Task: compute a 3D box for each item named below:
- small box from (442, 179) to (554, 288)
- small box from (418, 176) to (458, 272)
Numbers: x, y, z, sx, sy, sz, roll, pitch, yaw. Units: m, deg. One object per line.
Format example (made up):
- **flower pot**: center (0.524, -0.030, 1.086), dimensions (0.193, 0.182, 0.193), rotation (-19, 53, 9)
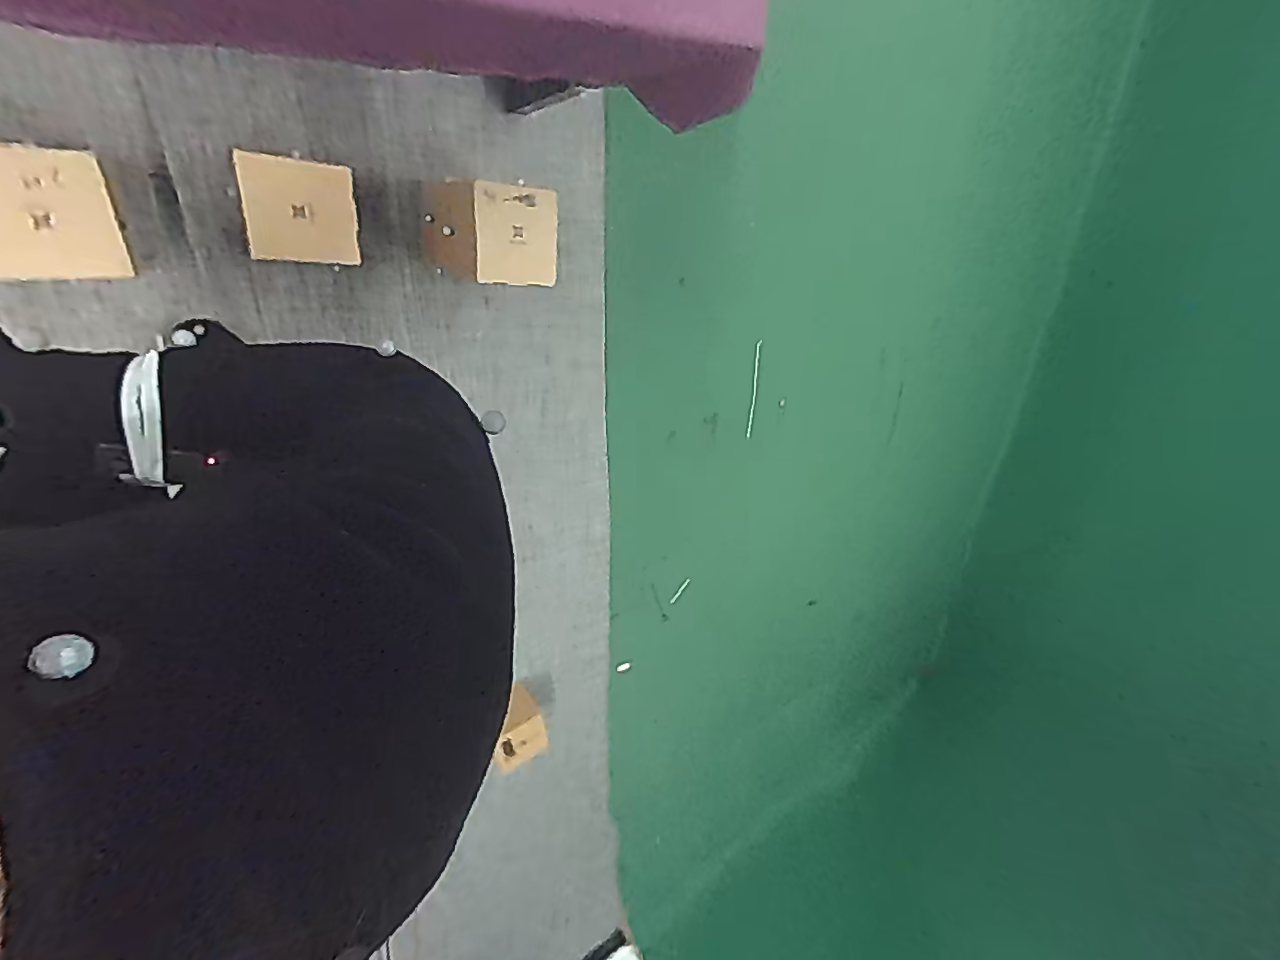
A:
- **small box**: center (-0.286, -0.488, 1.079), dimensions (0.168, 0.176, 0.179), rotation (-11, 118, -34)
- **small box**: center (-0.384, -0.551, 1.196), dimensions (0.168, 0.176, 0.179), rotation (-7, 113, -36)
